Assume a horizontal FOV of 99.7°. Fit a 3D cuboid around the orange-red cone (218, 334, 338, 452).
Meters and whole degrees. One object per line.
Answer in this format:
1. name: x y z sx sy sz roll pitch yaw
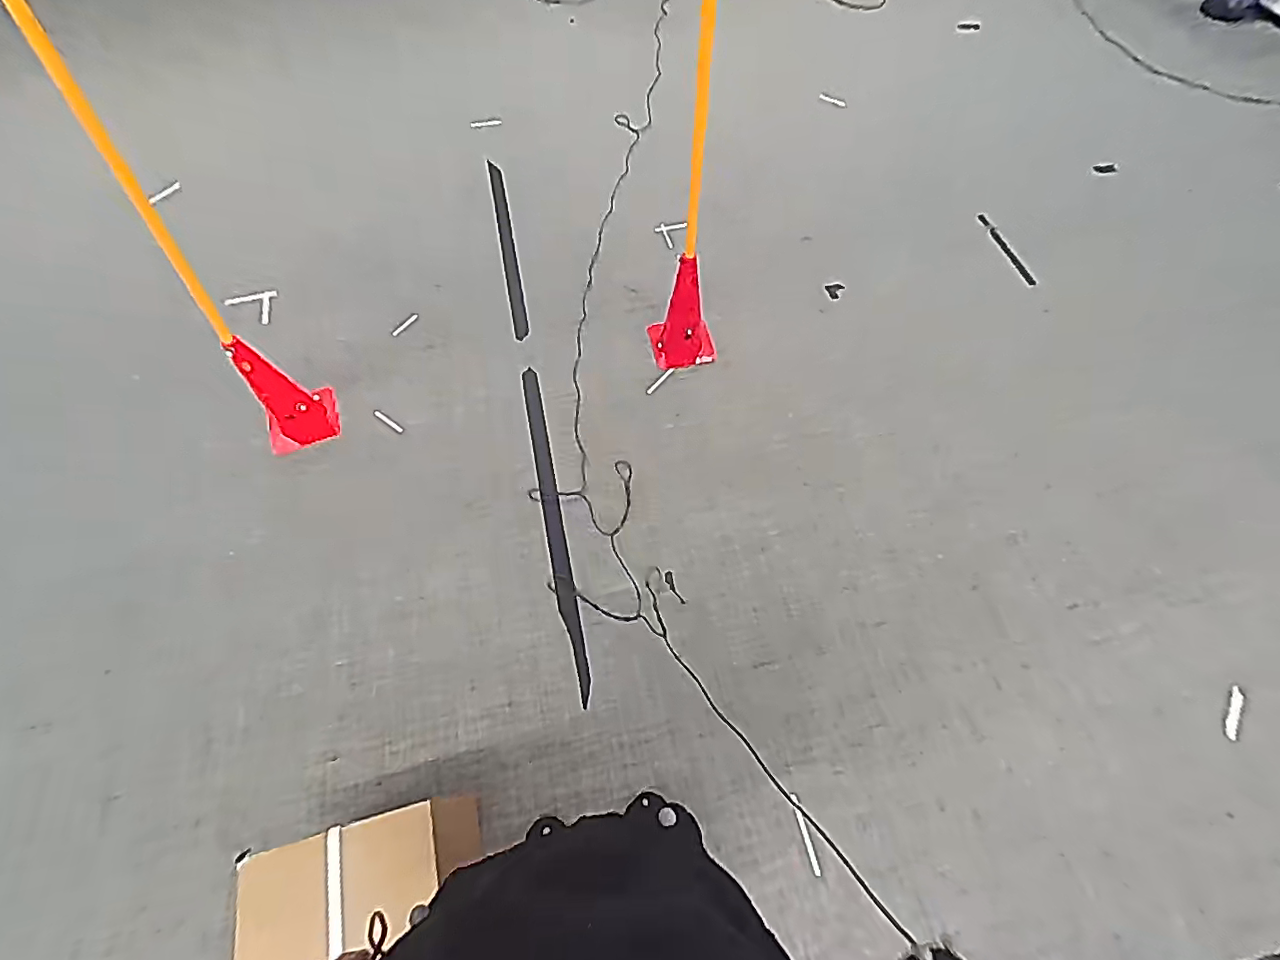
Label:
1. orange-red cone: -1.031 -0.266 1.497 0.199 0.360 0.198 -21 63 -10
